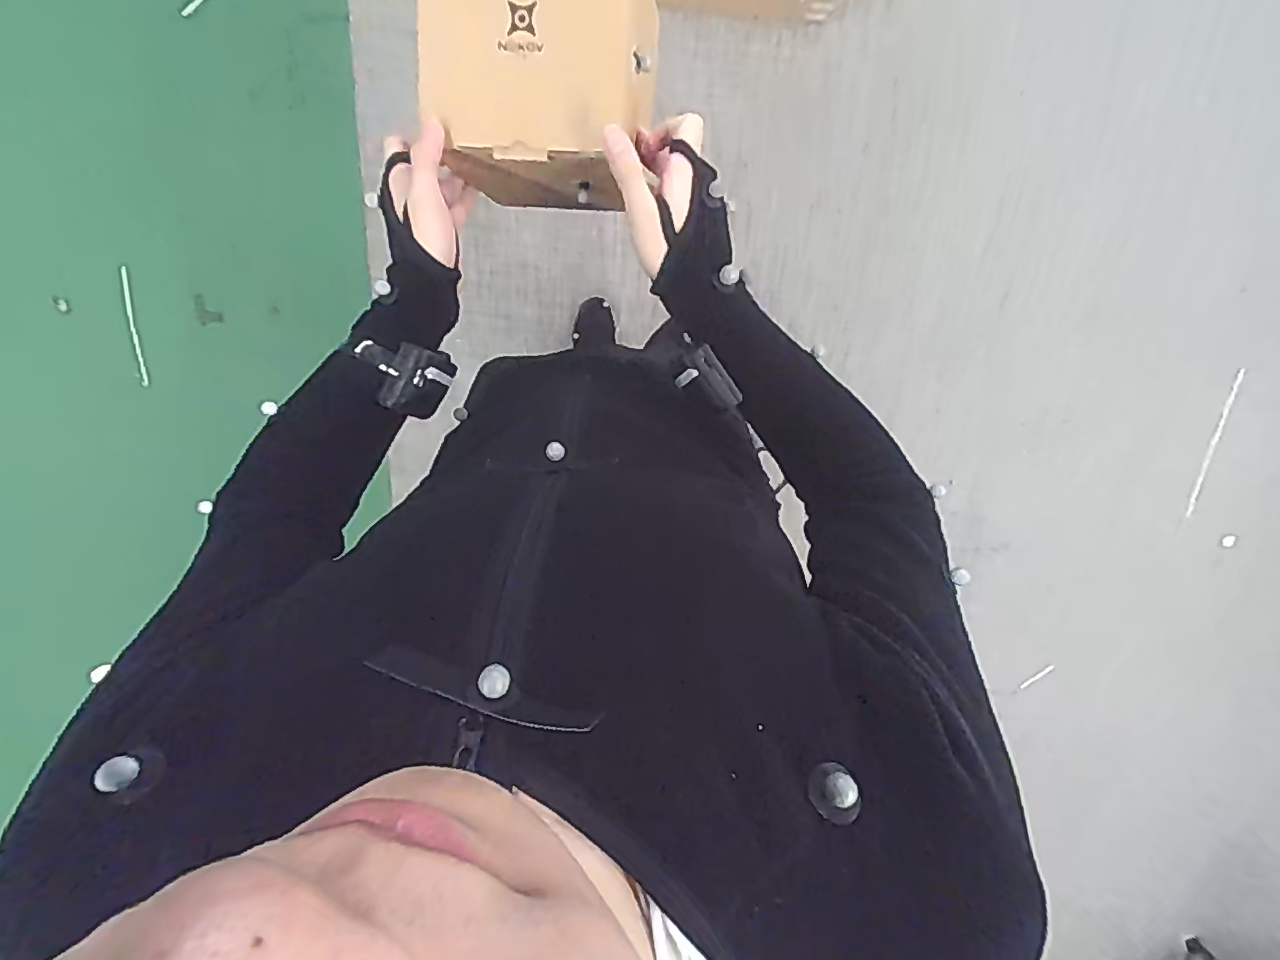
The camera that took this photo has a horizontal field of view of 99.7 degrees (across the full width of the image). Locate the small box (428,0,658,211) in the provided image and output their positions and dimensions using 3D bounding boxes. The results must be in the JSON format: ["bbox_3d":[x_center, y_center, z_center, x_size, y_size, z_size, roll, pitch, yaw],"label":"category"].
[{"bbox_3d":[-0.076,-0.365,0.496,0.168,0.176,0.179,7,102,3],"label":"small box"}]
